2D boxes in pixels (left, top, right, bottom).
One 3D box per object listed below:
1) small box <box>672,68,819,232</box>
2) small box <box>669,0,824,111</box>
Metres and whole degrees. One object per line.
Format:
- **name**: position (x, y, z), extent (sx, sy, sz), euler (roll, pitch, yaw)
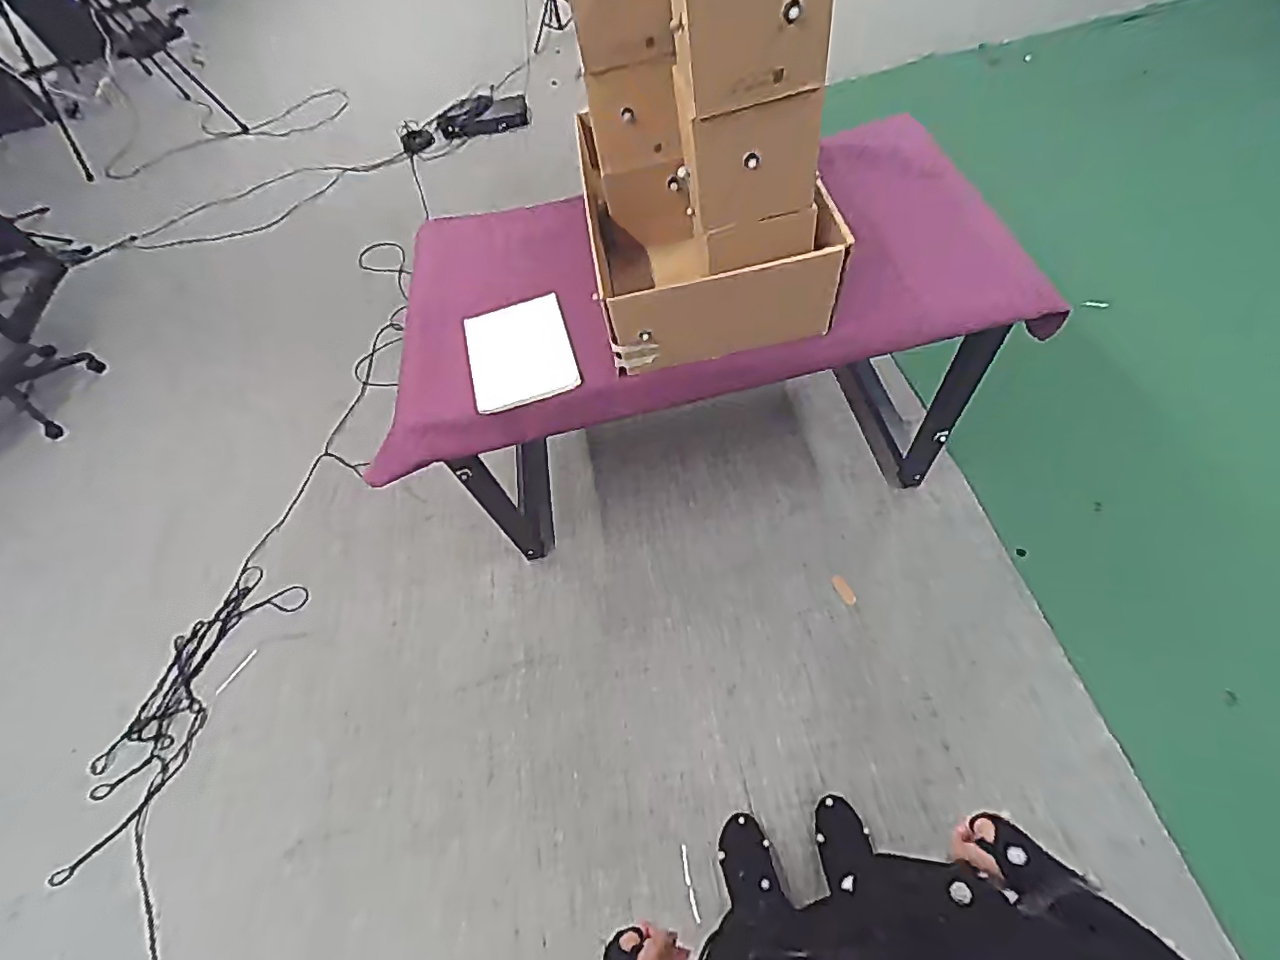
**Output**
- **small box**: position (0.152, -0.507, 0.809), extent (0.179, 0.176, 0.168), euler (-11, 57, 6)
- **small box**: position (0.126, -0.591, 0.671), extent (0.168, 0.176, 0.179), euler (-10, 57, 5)
